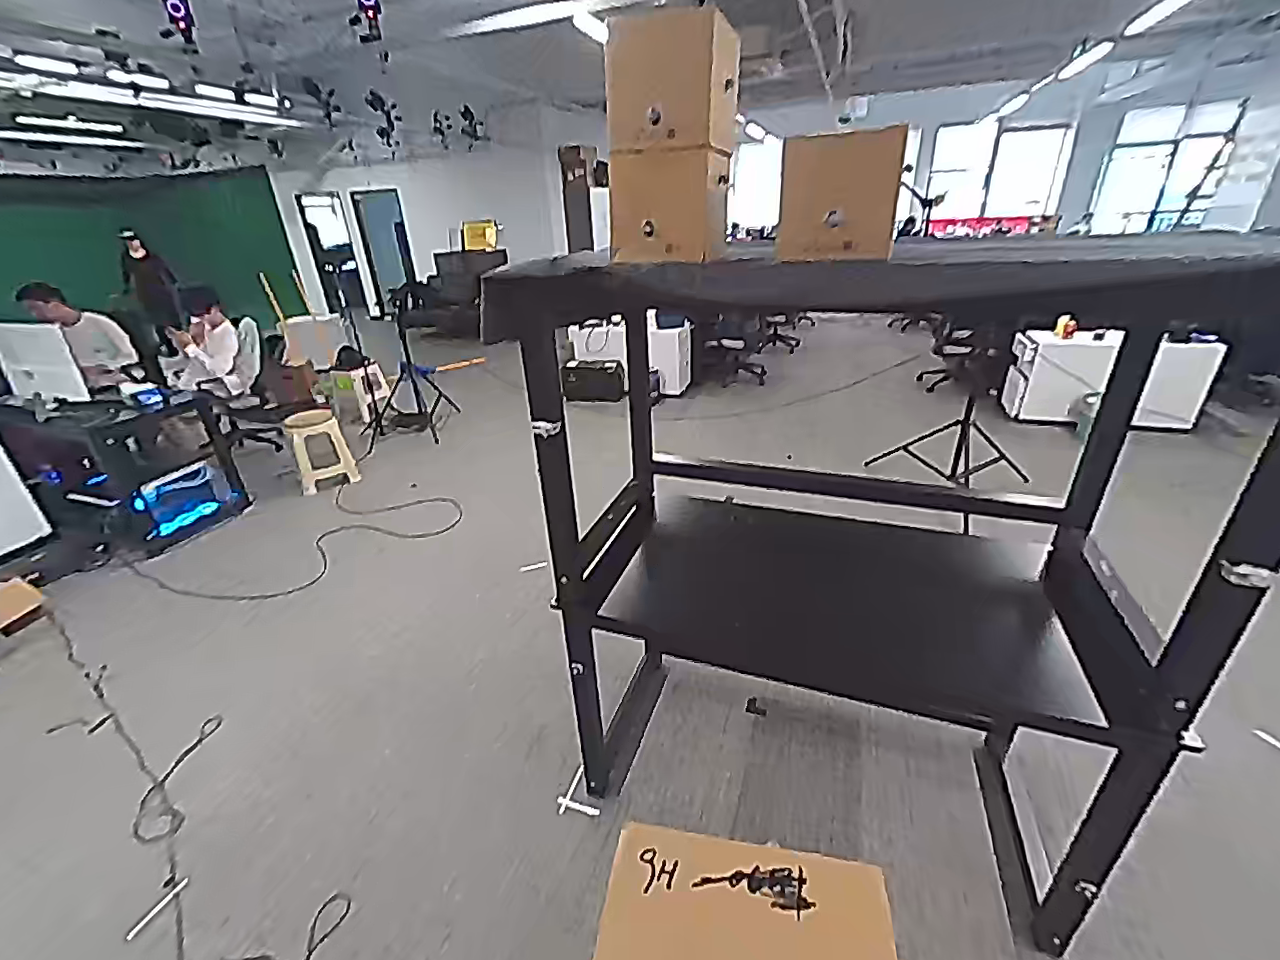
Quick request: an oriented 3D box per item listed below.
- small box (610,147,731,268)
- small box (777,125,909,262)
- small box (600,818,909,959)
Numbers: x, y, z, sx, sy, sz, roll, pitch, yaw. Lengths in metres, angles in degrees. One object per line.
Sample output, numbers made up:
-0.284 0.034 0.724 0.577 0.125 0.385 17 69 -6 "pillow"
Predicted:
0.055 -0.465 0.935 0.168 0.176 0.179 8 27 18 "small box"
0.311 -0.435 0.842 0.168 0.176 0.179 7 26 20 "small box"
0.060 0.341 0.312 0.168 0.176 0.179 4 32 10 "small box"
